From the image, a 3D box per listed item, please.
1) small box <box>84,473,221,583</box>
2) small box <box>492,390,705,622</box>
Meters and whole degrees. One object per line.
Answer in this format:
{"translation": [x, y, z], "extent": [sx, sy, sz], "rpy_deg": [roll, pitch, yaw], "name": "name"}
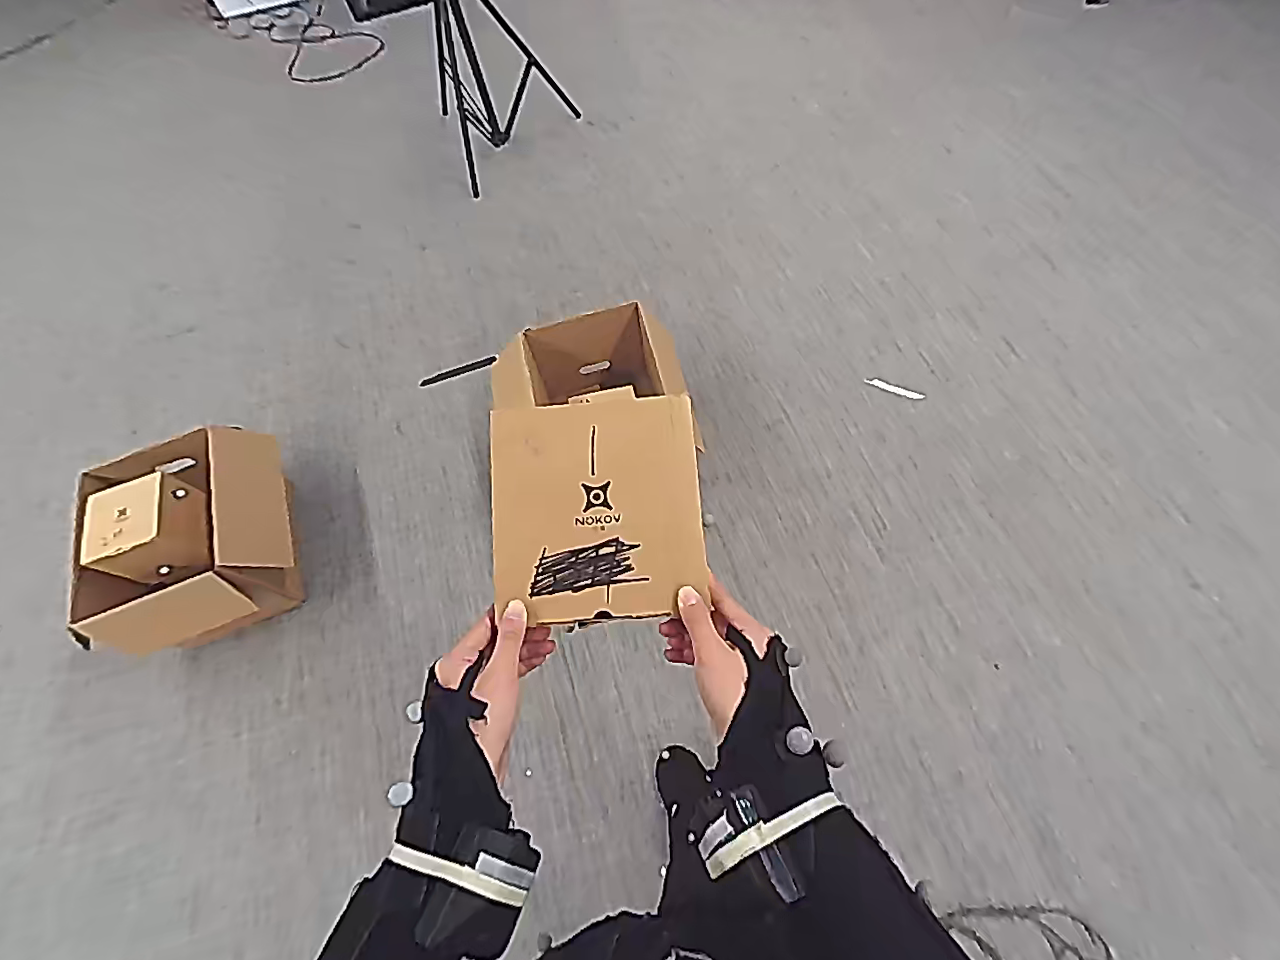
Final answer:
{"translation": [-1.117, 0.116, 1.254], "extent": [0.168, 0.176, 0.179], "rpy_deg": [-20, 64, -3], "name": "small box"}
{"translation": [-0.031, 0.033, 0.505], "extent": [0.168, 0.176, 0.179], "rpy_deg": [-5, 78, 2], "name": "small box"}
